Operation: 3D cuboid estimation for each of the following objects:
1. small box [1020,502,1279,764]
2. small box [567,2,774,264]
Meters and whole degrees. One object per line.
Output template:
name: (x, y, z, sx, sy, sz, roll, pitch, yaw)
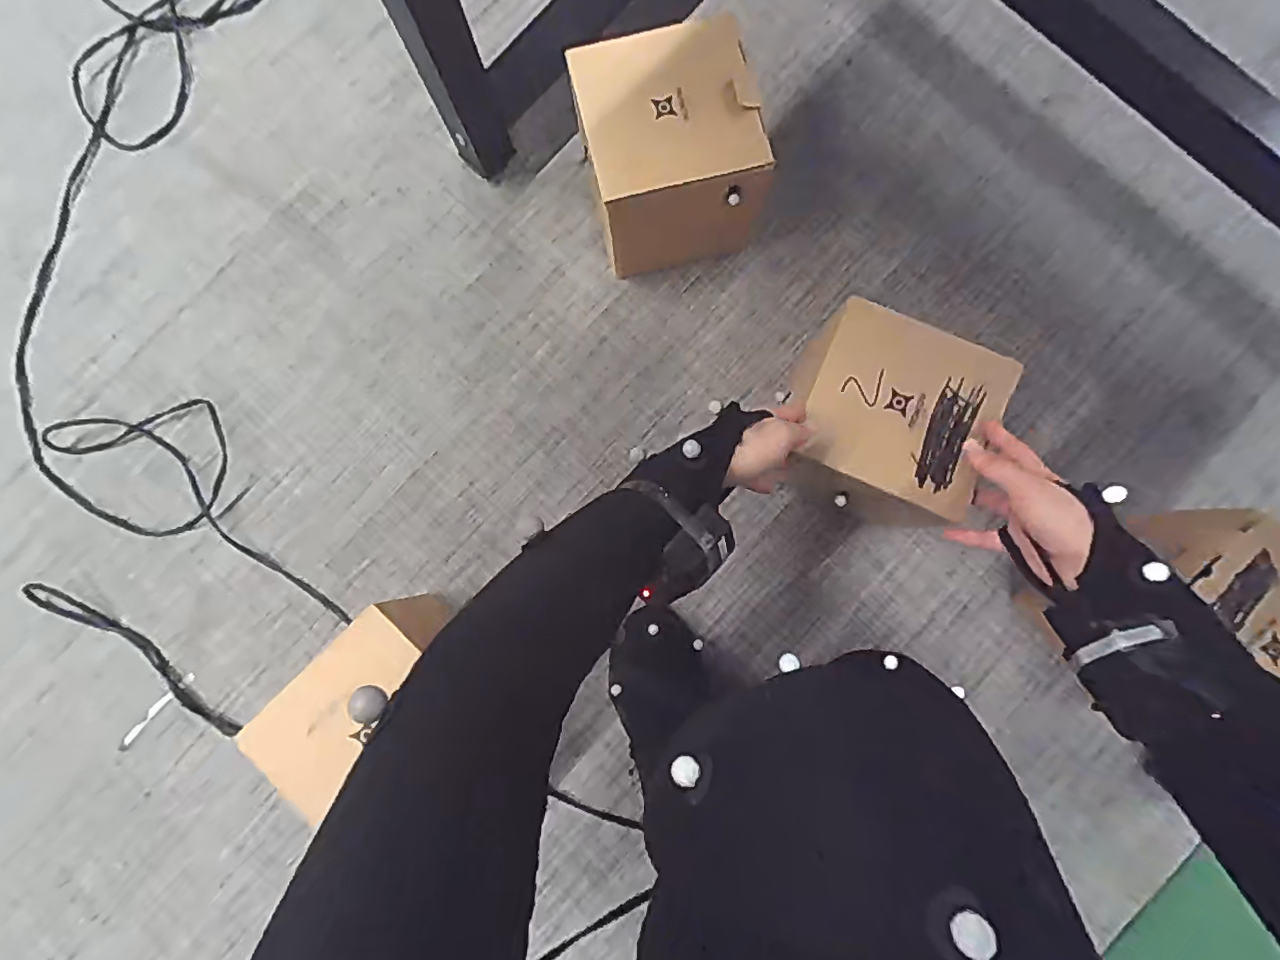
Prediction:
small box: (0.559, 0.143, 0.564, 0.168, 0.176, 0.179, -41, 88, -2)
small box: (0.030, -0.368, 0.608, 0.179, 0.176, 0.168, -14, 86, -1)
